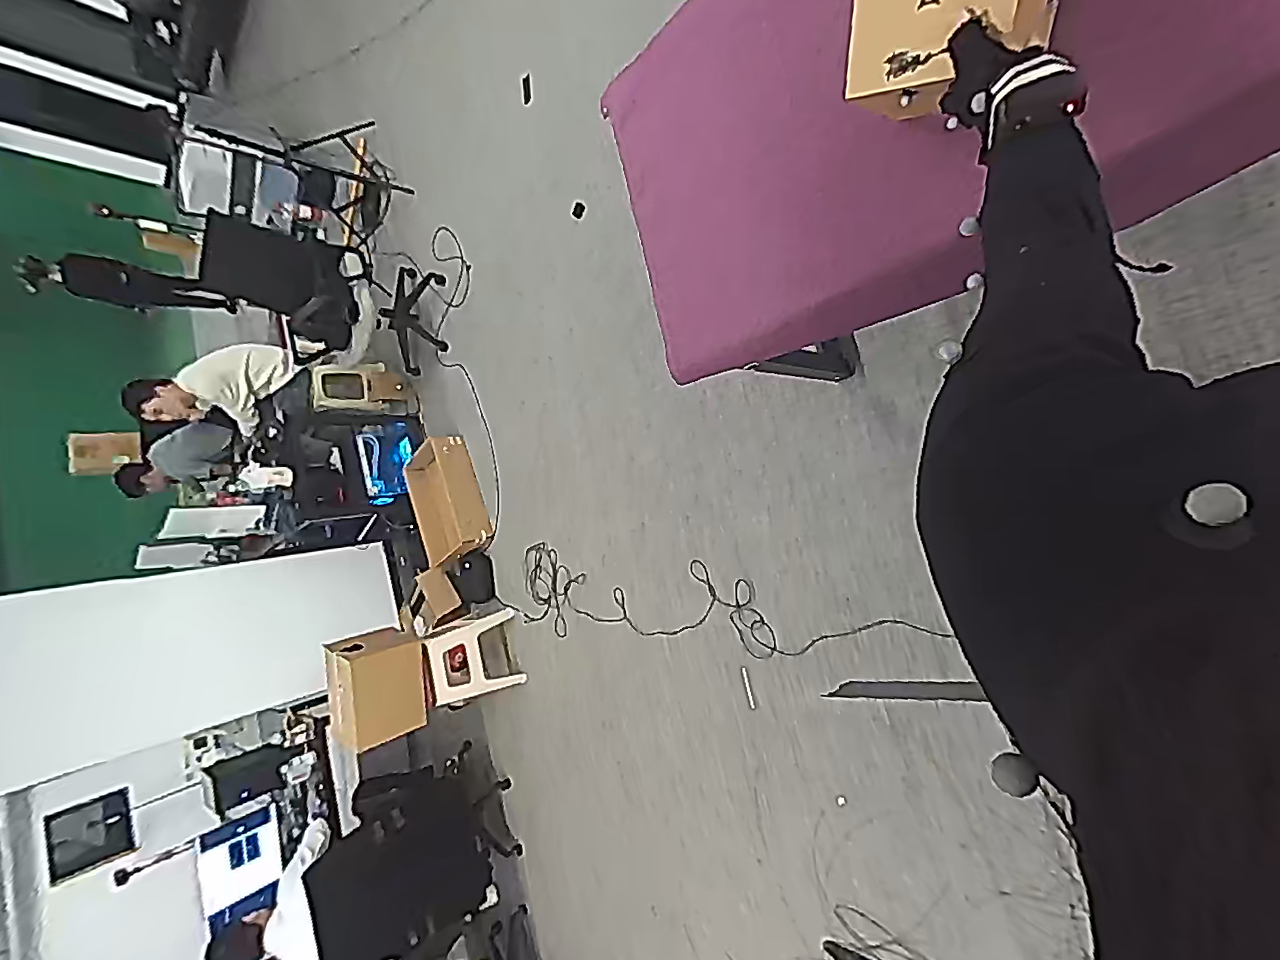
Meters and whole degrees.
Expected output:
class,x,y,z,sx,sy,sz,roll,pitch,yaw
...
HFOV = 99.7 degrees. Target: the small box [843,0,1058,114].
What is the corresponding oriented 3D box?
class,x,y,z,sx,sy,sz,roll,pitch,yaw
small box,0.347,-0.529,0.594,0.168,0.176,0.179,19,121,40
